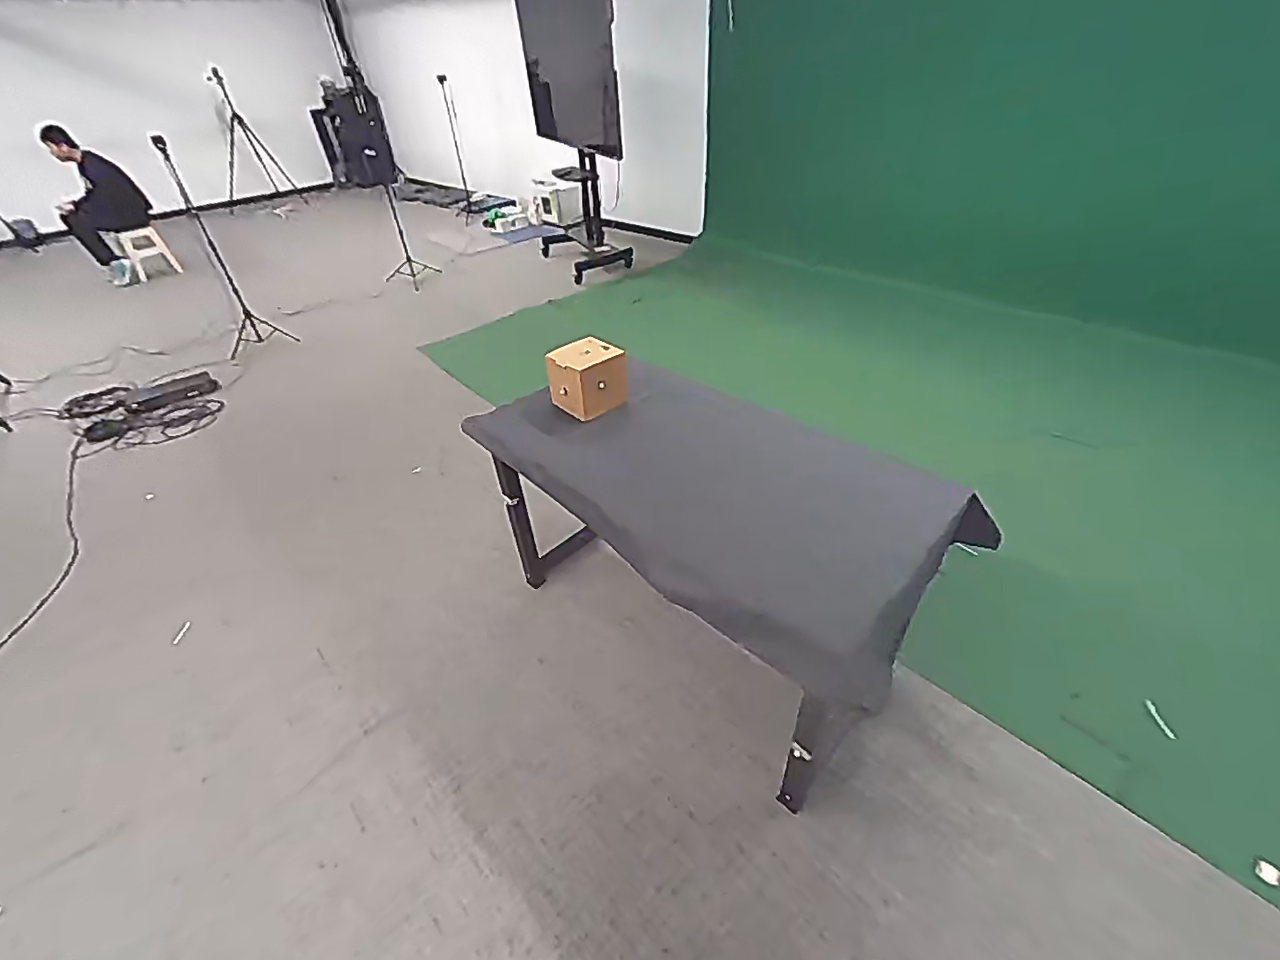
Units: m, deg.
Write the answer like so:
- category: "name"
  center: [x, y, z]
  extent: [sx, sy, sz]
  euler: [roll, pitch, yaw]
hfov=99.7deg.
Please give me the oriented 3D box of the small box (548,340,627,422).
- category: "small box"
  center: [-0.152, -0.300, 1.641]
  extent: [0.179, 0.176, 0.168]
  euler: [-32, 47, -31]
